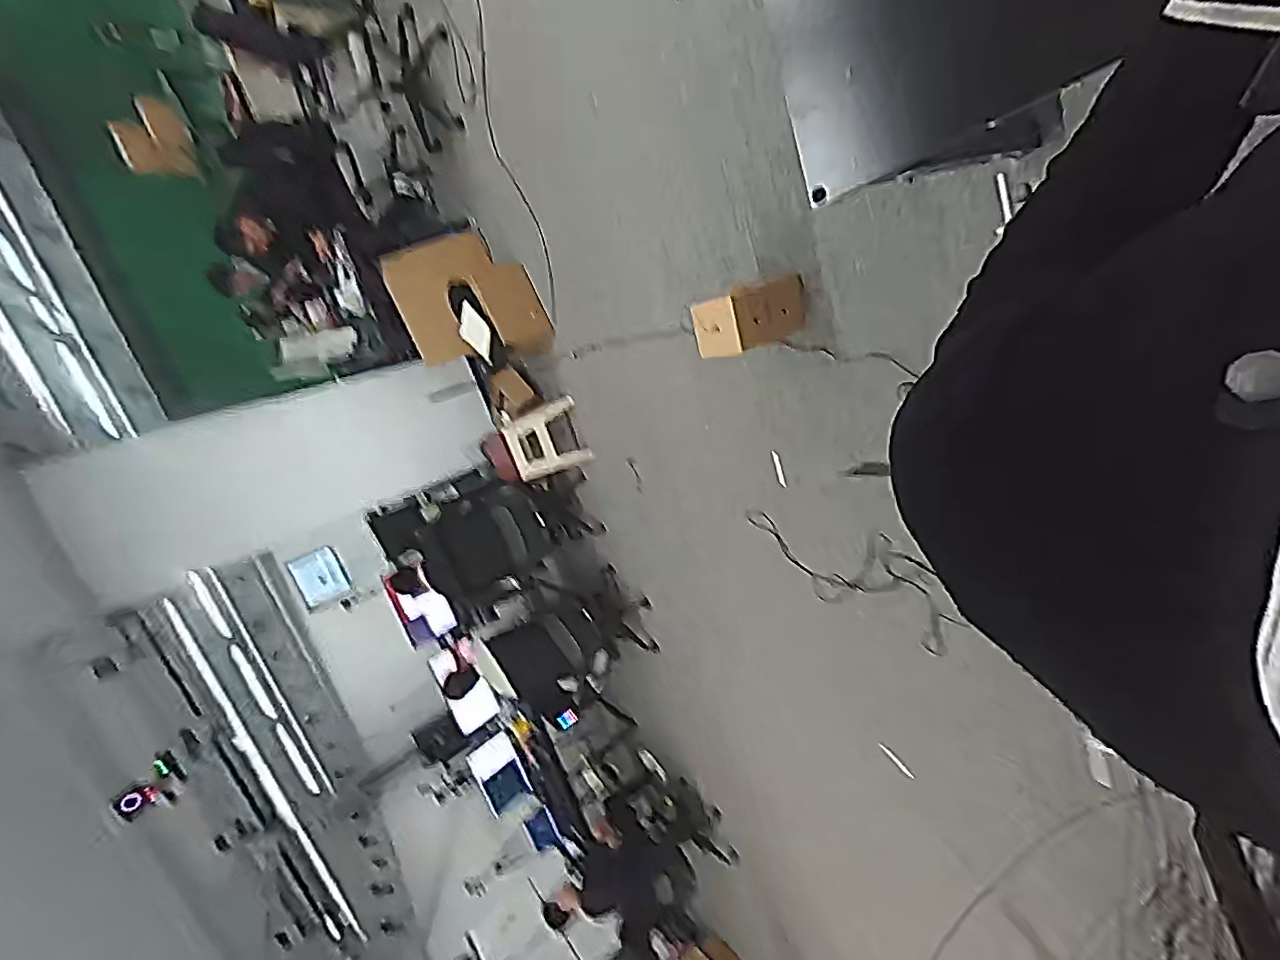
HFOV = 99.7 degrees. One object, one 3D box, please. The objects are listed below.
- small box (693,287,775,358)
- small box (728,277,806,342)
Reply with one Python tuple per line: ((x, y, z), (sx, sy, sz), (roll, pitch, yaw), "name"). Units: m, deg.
((0.294, -0.478, 1.647), (0.179, 0.176, 0.168), (9, 119, 54), "small box")
((0.412, -0.546, 1.739), (0.168, 0.176, 0.179), (14, 124, 52), "small box")
